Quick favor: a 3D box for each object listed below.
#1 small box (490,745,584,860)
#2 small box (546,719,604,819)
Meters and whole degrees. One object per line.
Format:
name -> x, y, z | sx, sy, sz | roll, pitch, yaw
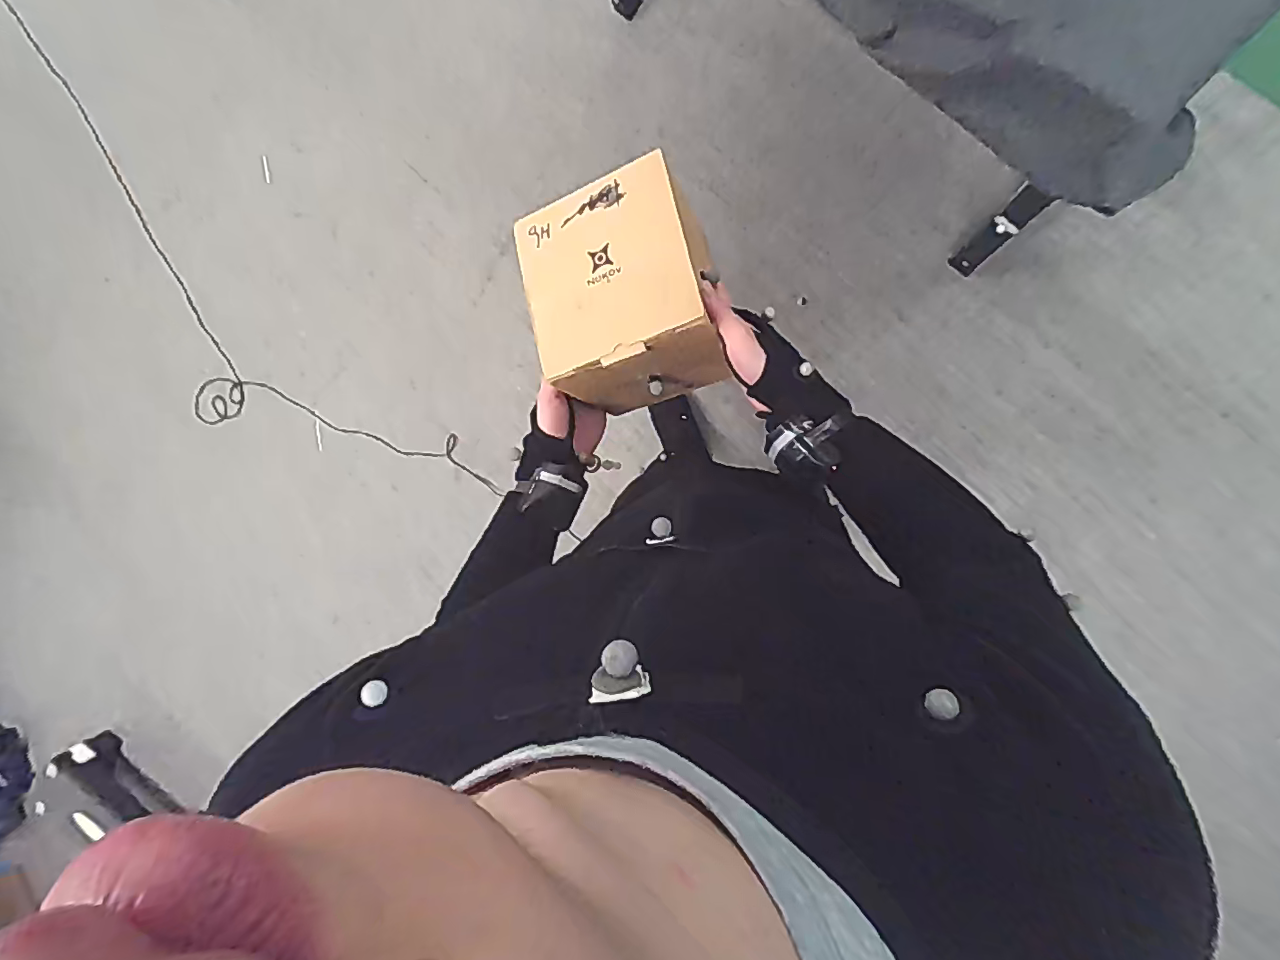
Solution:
small box -> -0.280, 0.894, 1.514 | 0.168, 0.176, 0.179 | 32, 102, 11
small box -> -0.231, 0.884, 1.671 | 0.168, 0.176, 0.179 | 31, 105, 12
